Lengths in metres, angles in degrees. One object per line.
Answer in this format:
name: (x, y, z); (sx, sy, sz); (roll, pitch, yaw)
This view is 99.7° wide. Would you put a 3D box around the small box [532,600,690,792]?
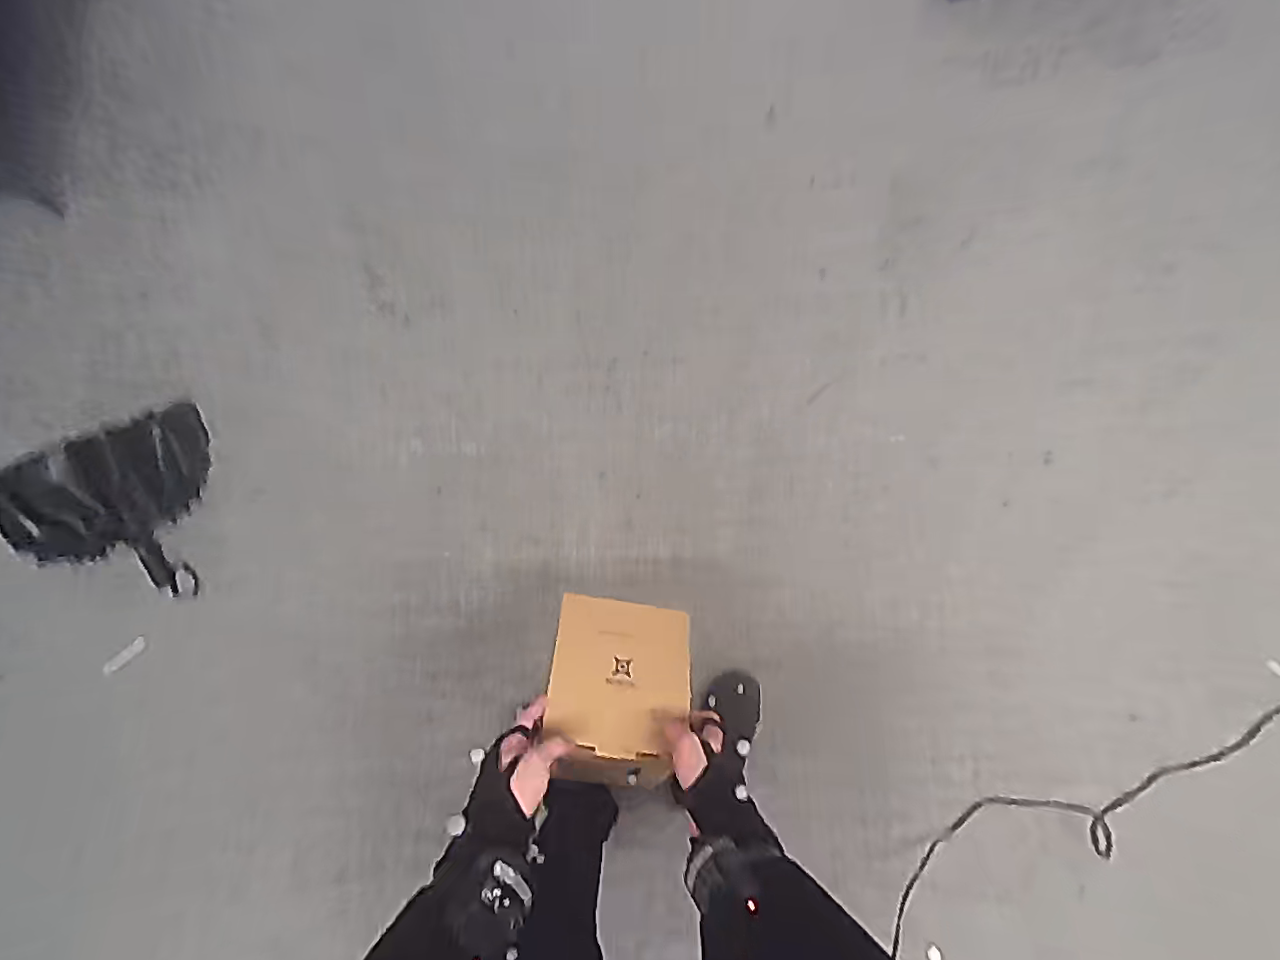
small box: (-0.038, 0.277, 0.679); (0.168, 0.176, 0.179); (10, 49, -8)
